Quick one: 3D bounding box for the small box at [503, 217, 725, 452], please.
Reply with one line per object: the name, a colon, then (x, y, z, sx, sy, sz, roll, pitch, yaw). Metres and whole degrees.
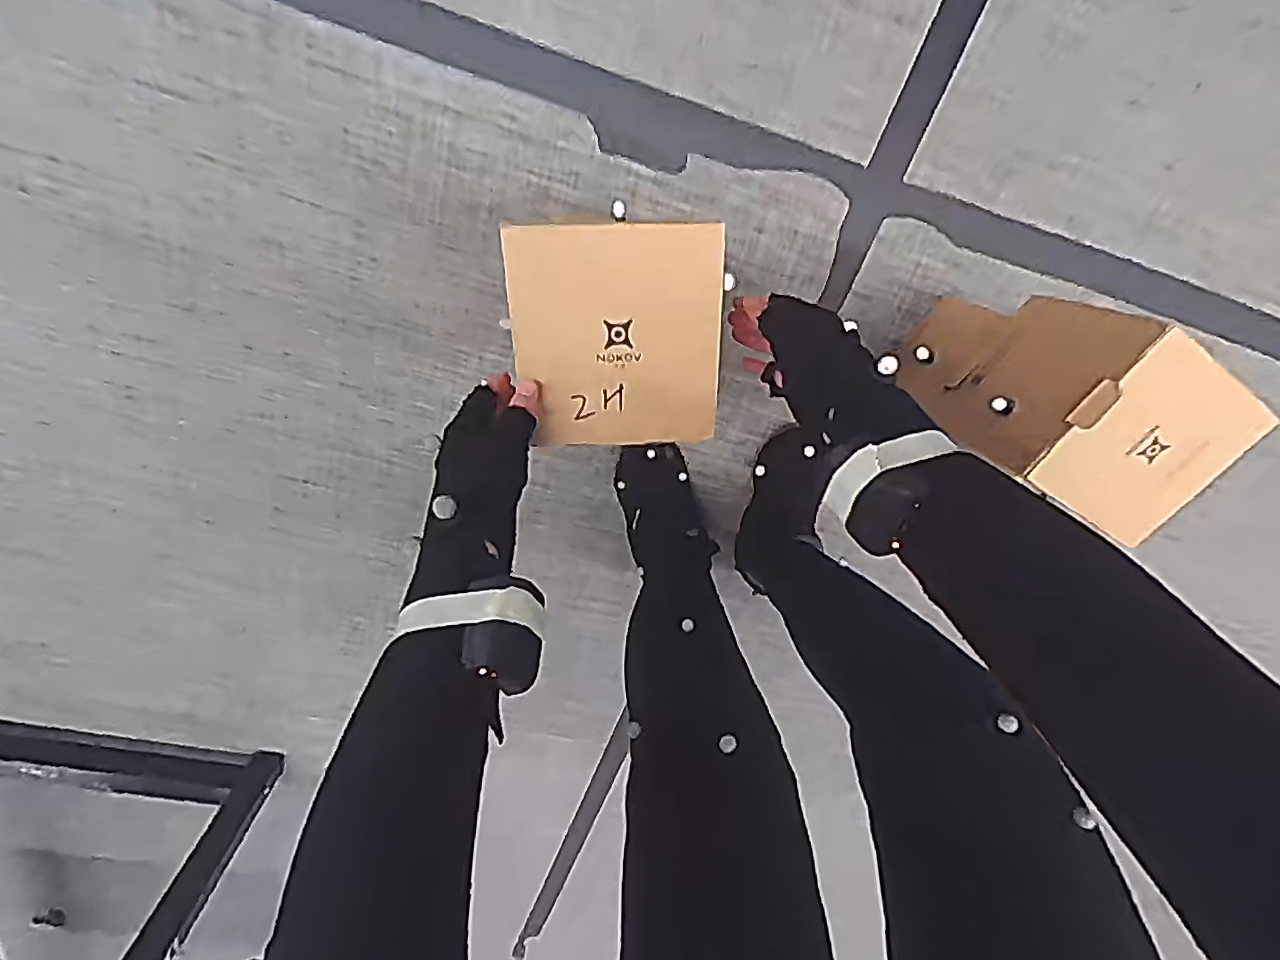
small box: (-0.026, -0.141, 0.499, 0.168, 0.176, 0.179, 2, 119, -3)

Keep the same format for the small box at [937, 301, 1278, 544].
small box: (0.462, -0.070, 0.567, 0.179, 0.176, 0.168, 27, 113, -17)

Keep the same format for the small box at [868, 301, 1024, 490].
small box: (0.447, -0.121, 0.726, 0.179, 0.176, 0.168, 29, 111, -18)
